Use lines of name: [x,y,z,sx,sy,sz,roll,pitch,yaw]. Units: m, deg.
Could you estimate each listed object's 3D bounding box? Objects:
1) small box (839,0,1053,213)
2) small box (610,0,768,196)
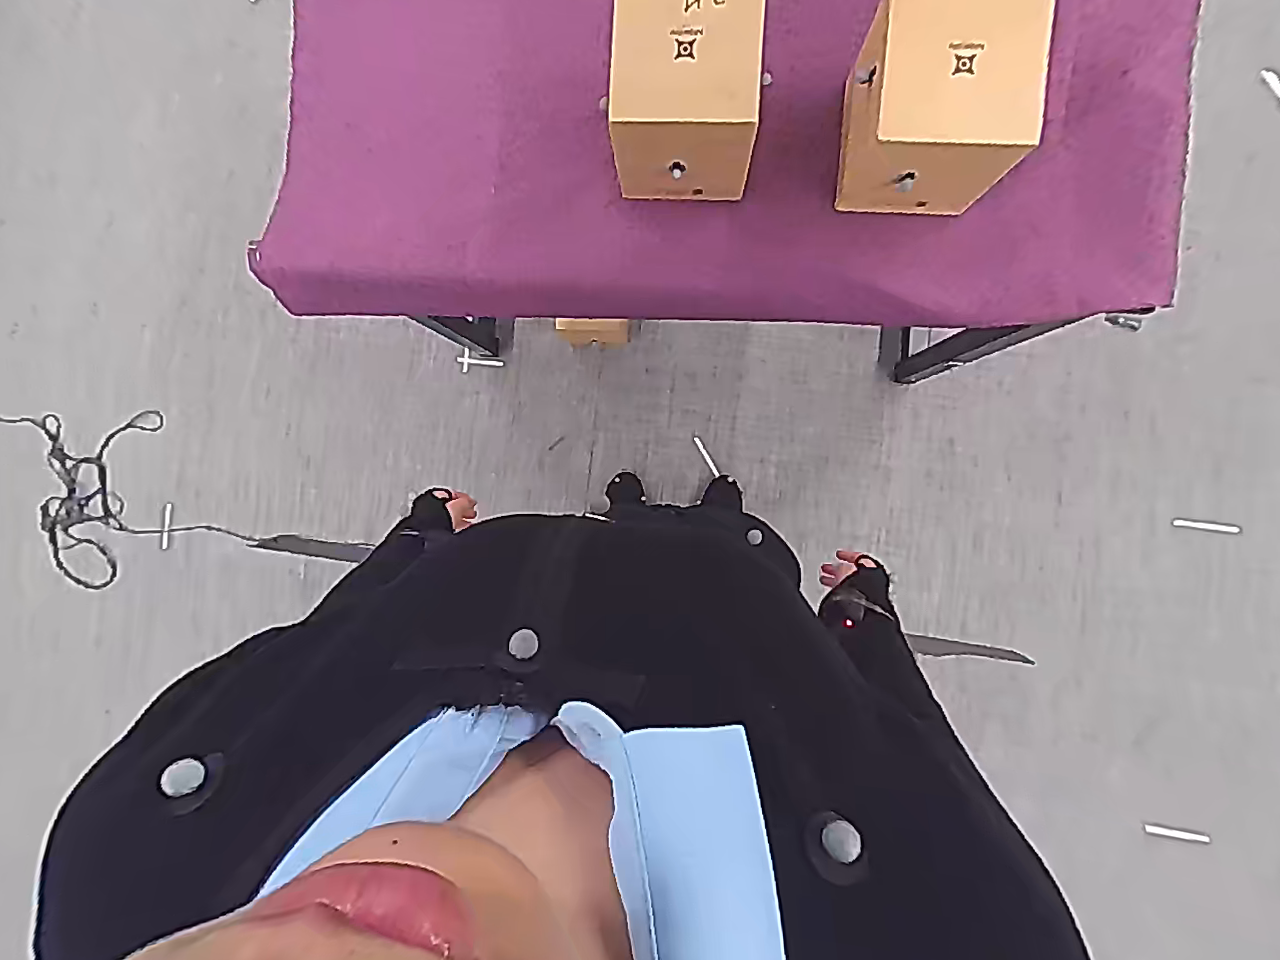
small box: [0.348,-0.444,0.649,0.168,0.176,0.179,5,92,5]
small box: [0.060,-0.478,0.670,0.168,0.176,0.179,4,90,3]
